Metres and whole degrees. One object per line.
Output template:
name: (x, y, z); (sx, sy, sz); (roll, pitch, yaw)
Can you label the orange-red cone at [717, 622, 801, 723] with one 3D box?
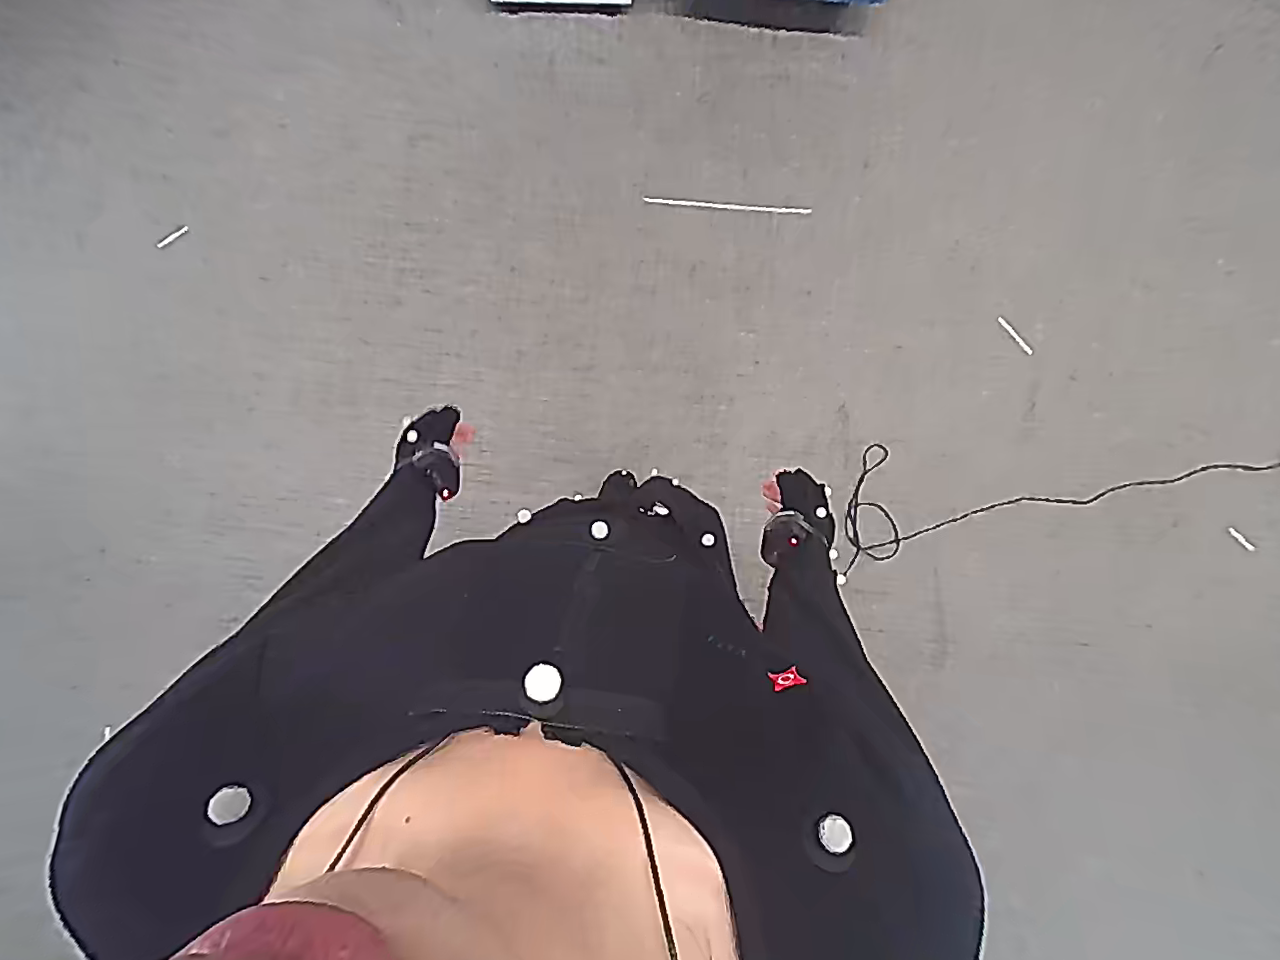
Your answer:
orange-red cone: (0.329, 0.506, 1.338); (0.198, 0.360, 0.199); (-14, 91, -1)
